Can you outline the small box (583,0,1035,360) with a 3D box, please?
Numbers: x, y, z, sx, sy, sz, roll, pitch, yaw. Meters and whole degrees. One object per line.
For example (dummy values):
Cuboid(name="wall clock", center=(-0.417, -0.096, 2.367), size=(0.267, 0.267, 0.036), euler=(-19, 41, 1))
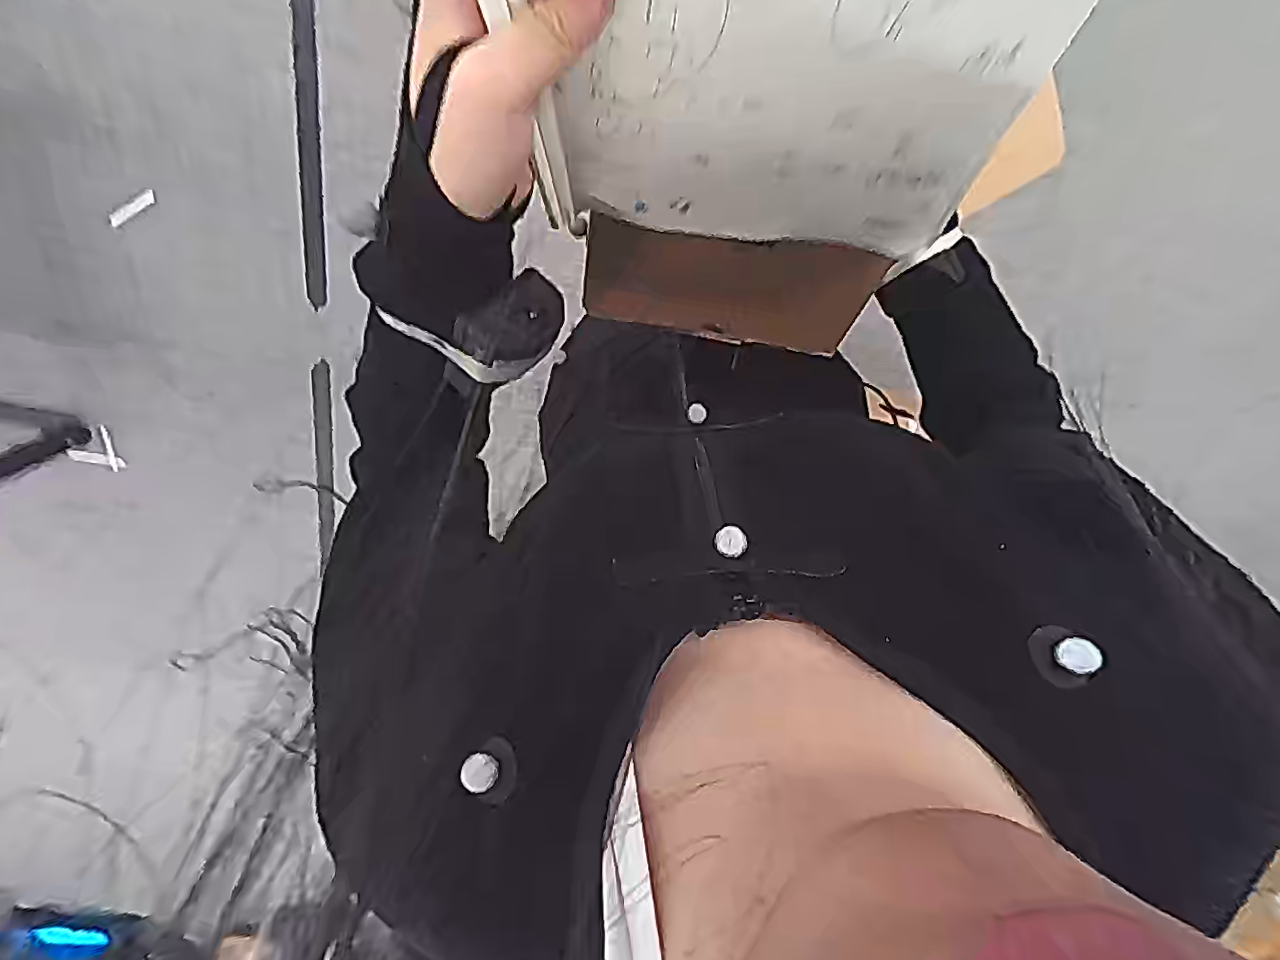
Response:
Cuboid(name="small box", center=(0.063, -0.199, 0.307), size=(0.168, 0.176, 0.179), euler=(8, 151, -5))
